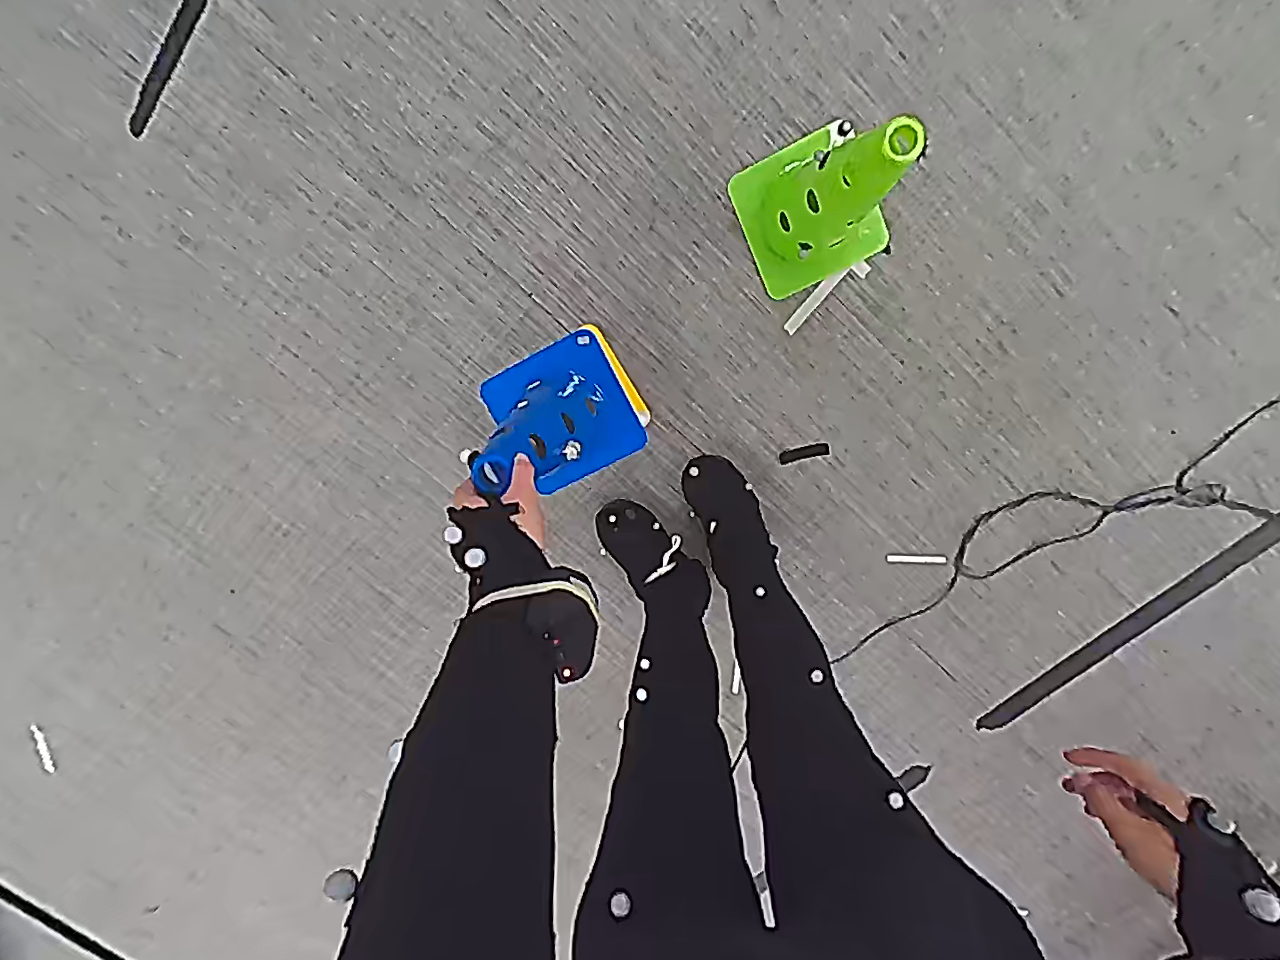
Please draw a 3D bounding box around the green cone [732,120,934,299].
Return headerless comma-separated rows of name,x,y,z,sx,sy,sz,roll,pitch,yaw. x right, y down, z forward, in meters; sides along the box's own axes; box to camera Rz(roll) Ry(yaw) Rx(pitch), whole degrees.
green cone,0.254,-0.359,0.666,0.200,0.368,0.202,-25,104,10
